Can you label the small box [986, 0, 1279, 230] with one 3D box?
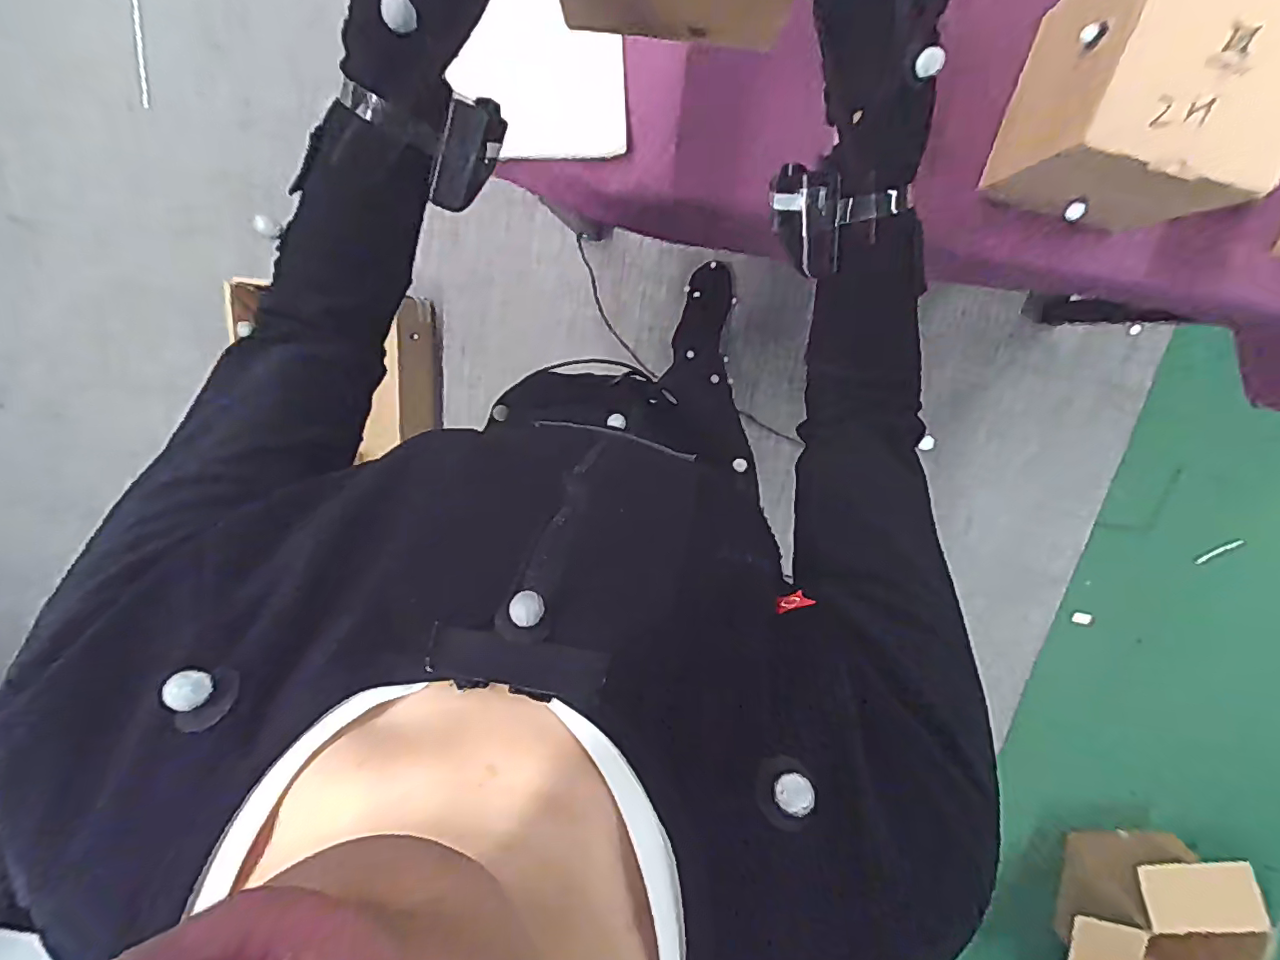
[{"bbox_3d":[0.470,-0.358,0.505,0.168,0.176,0.179,15,106,-1],"label":"small box"}]
